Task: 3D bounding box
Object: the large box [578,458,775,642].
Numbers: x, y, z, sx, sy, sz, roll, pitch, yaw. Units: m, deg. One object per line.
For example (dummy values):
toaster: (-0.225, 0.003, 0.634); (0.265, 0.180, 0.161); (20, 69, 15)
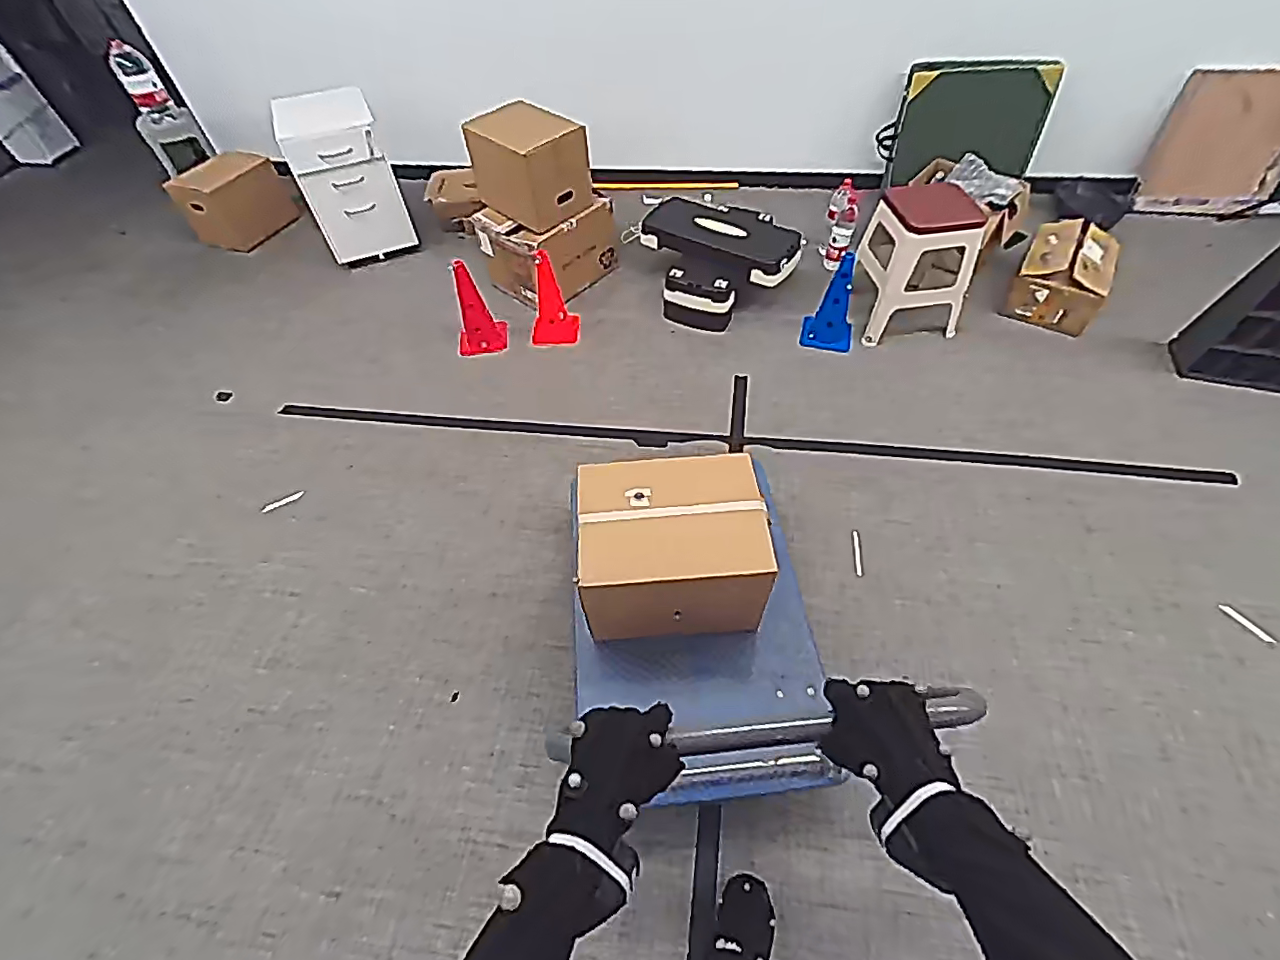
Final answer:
large box: (0.074, 0.175, 1.291); (0.408, 0.320, 0.320); (-5, 53, 0)
